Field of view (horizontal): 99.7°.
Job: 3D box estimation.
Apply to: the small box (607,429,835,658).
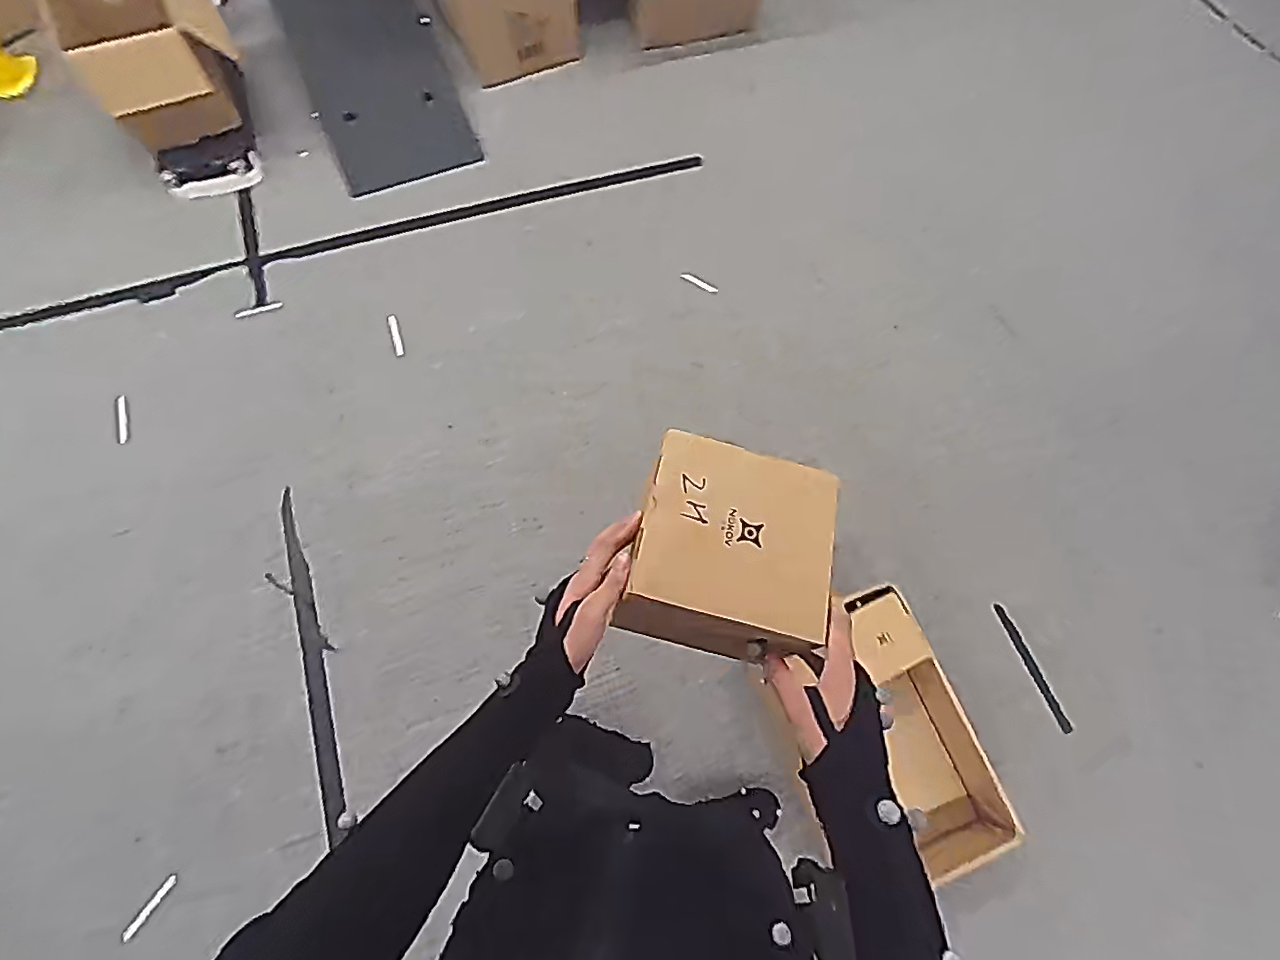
[{"bbox_3d":[0.074,0.076,0.551,0.179,0.176,0.168,15,64,-2],"label":"small box"}]
